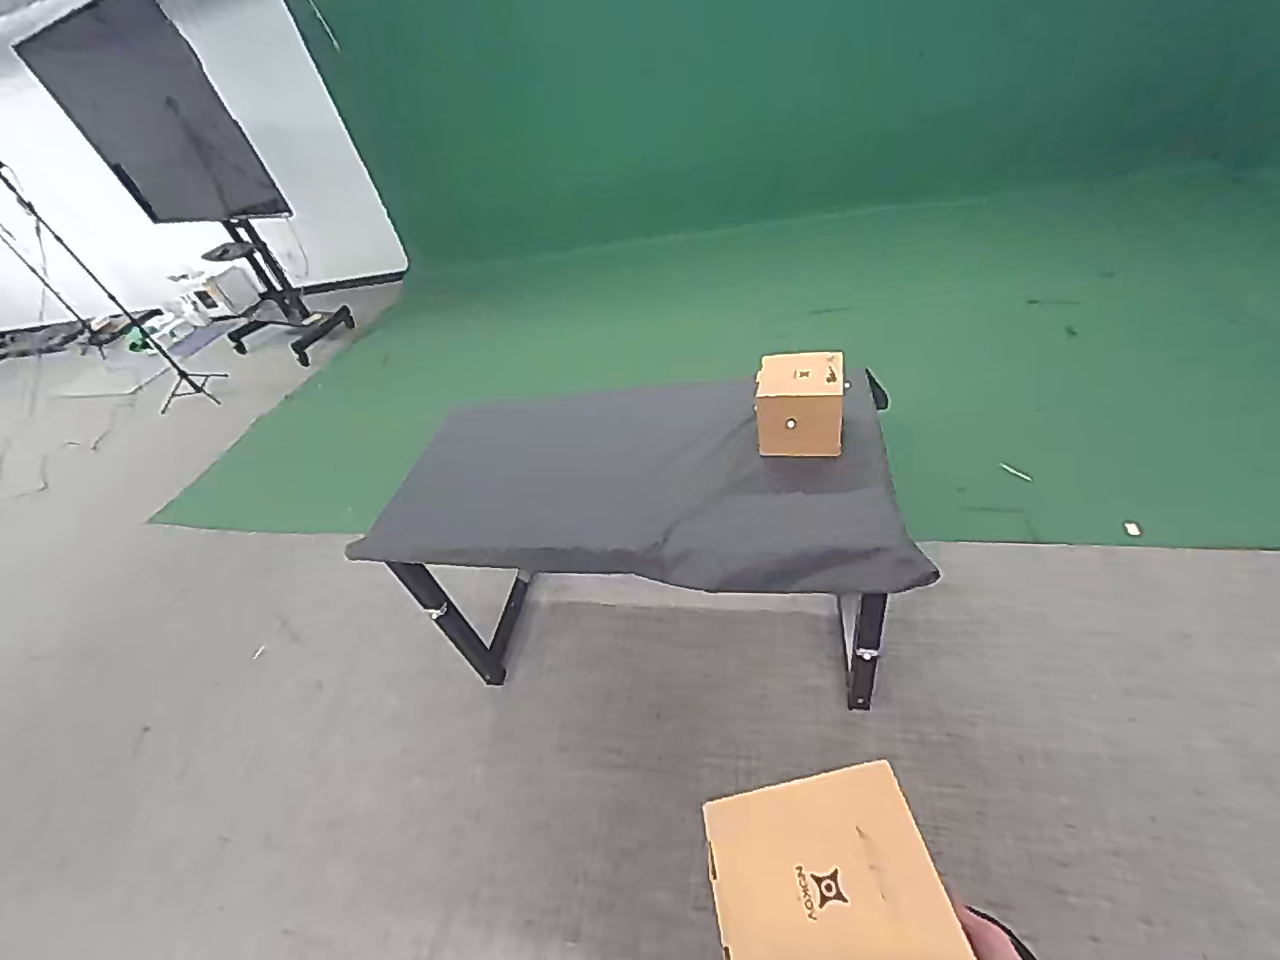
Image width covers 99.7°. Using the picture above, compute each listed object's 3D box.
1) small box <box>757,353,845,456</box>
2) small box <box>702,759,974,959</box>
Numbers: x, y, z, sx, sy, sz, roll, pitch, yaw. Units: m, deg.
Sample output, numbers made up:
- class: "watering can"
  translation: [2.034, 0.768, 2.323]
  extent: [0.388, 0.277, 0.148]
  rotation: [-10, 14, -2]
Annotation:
- class: "small box"
  translation: [0.367, -0.167, 1.219]
  extent: [0.179, 0.176, 0.168]
  rotation: [1, 45, 20]
- class: "small box"
  translation: [0.172, 0.384, 0.480]
  extent: [0.179, 0.176, 0.168]
  rotation: [-18, 39, 7]
